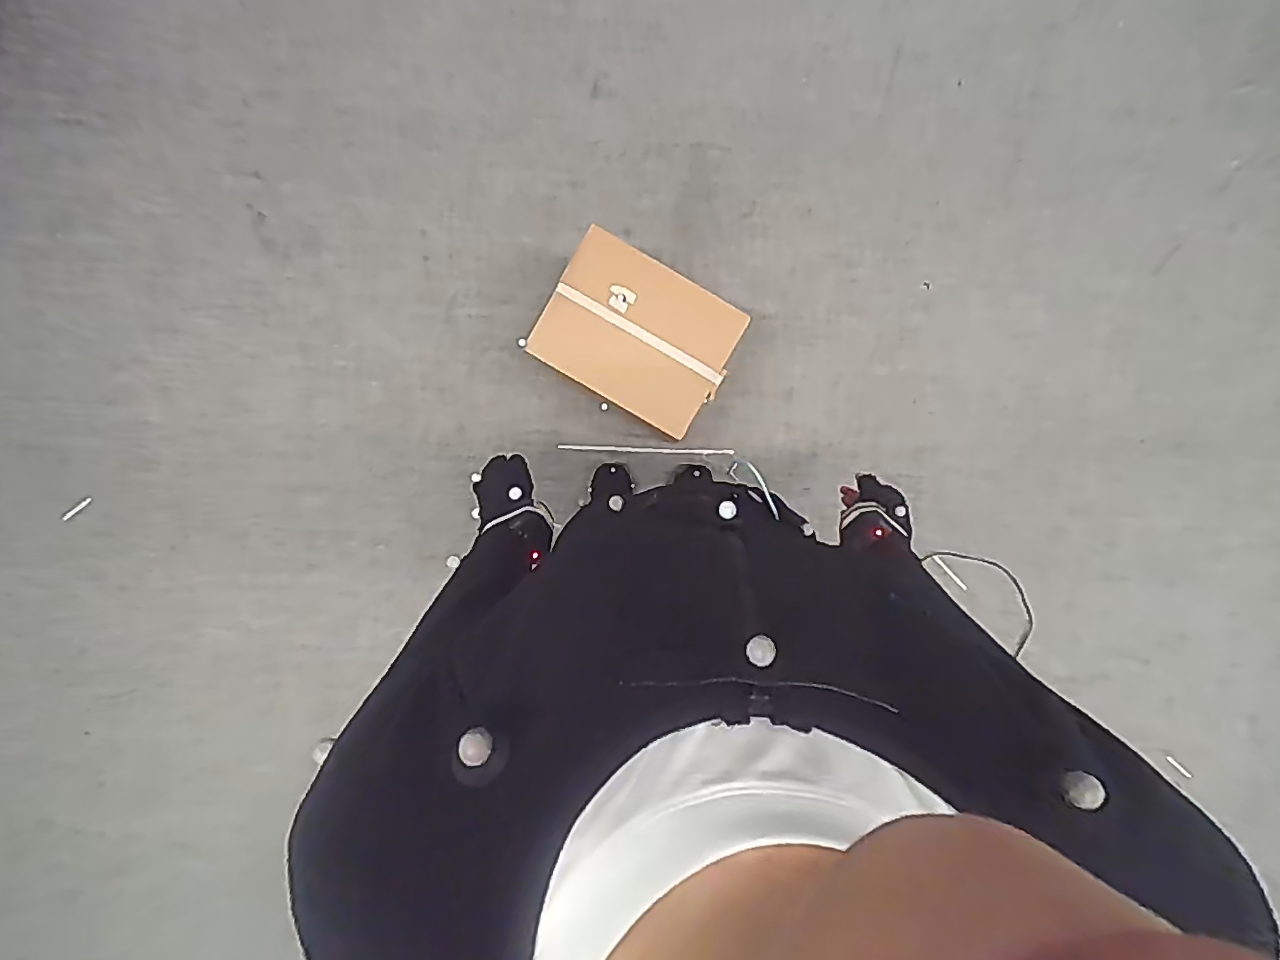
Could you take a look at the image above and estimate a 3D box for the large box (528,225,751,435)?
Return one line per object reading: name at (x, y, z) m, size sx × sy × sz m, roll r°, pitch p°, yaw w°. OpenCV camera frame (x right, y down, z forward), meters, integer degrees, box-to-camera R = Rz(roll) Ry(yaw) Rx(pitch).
large box at (0.002, -0.335, 1.328) m, size 0.408 × 0.320 × 0.320 m, roll 30°, pitch 92°, yaw -1°
